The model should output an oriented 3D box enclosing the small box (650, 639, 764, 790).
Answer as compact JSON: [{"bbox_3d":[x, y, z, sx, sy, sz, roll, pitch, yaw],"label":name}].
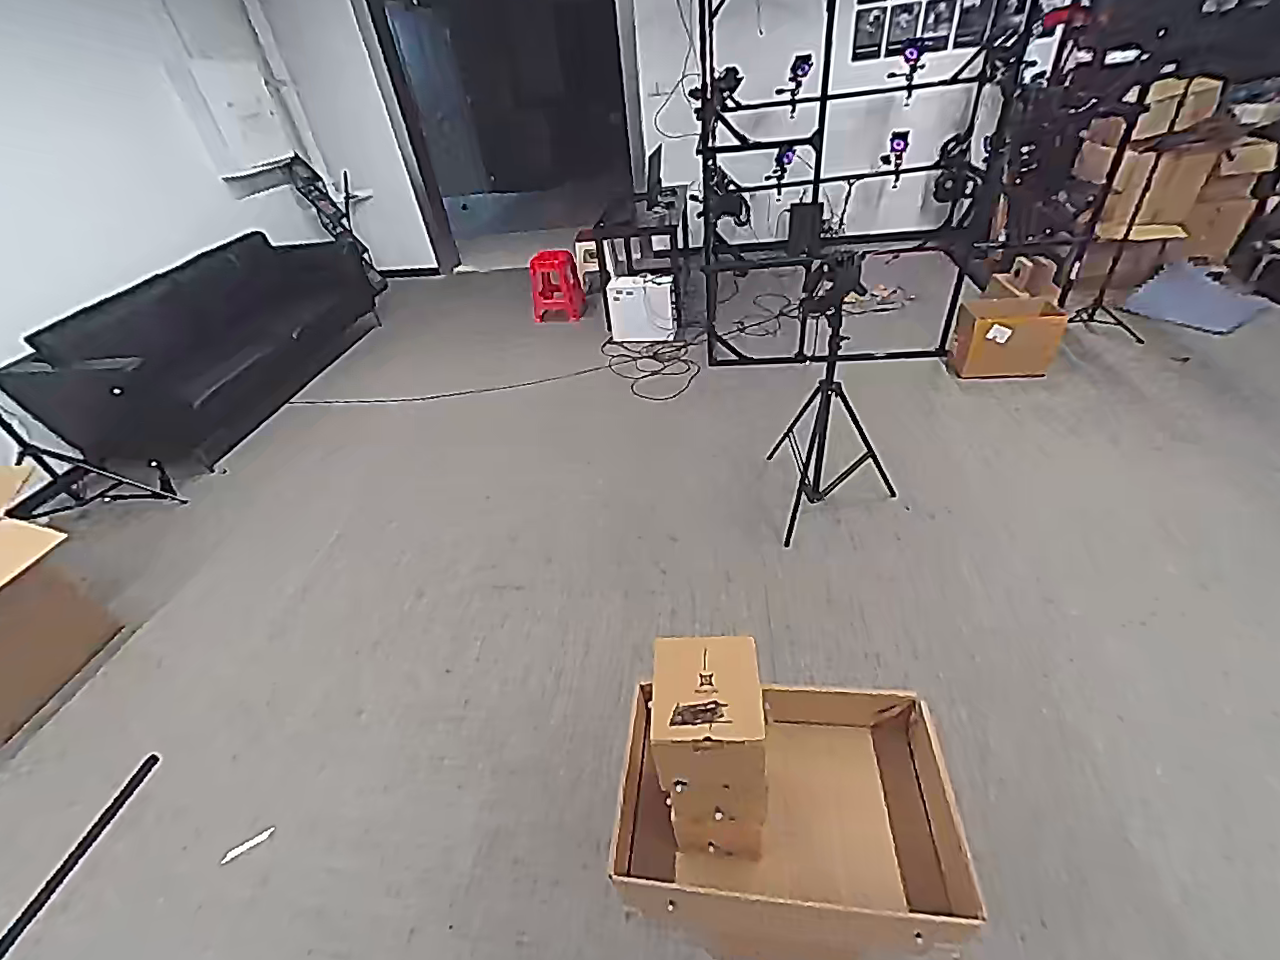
[{"bbox_3d":[0.110,0.381,0.879,0.168,0.176,0.179,-3,38,7],"label":"small box"}]

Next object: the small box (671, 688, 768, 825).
[{"bbox_3d":[0.143,0.499,0.990,0.168,0.176,0.179,-1,39,9],"label":"small box"}]

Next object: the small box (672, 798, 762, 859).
[{"bbox_3d":[0.156,0.629,1.090,0.168,0.176,0.179,-1,39,9],"label":"small box"}]
